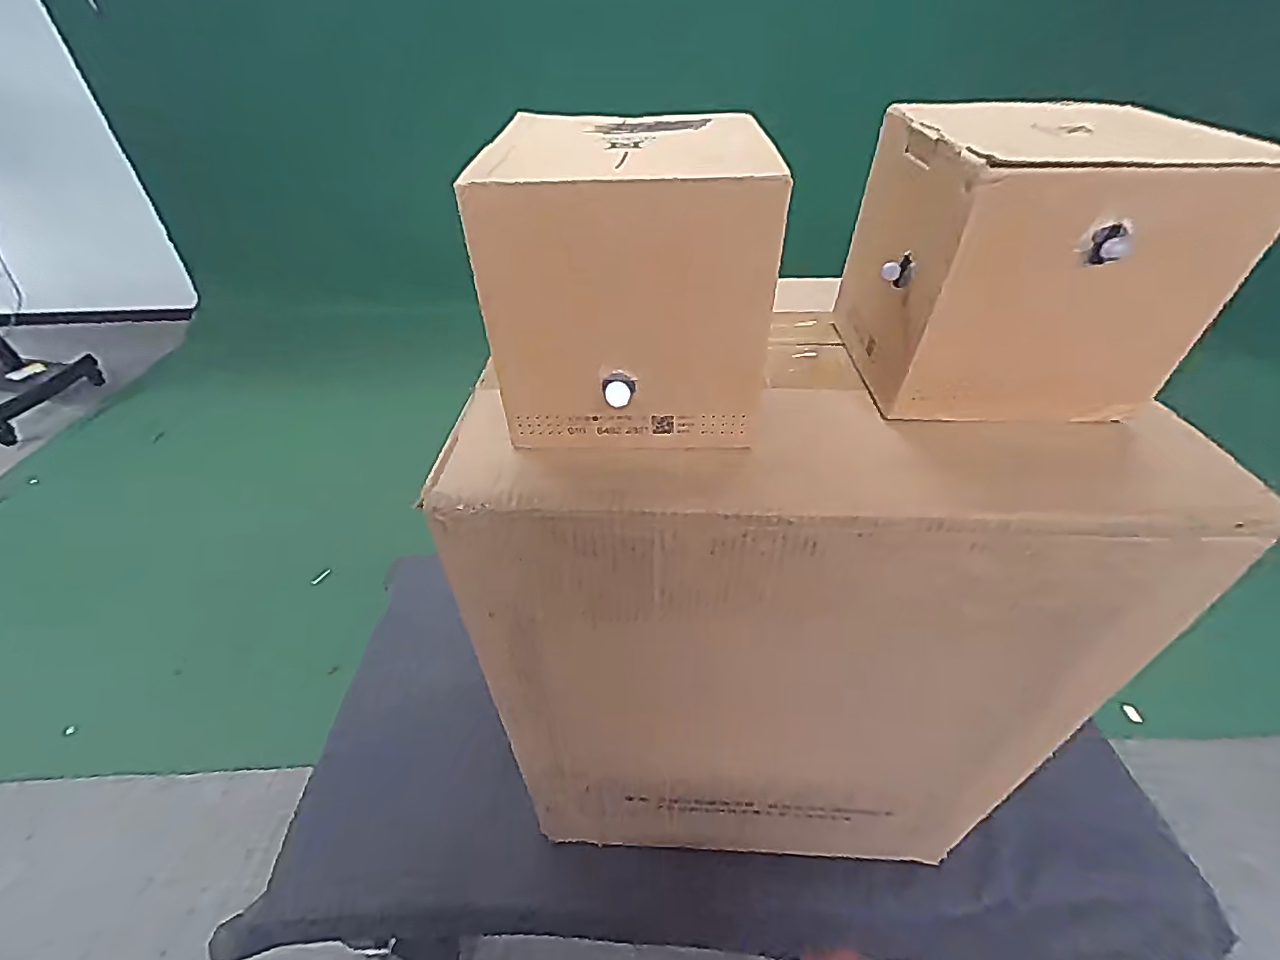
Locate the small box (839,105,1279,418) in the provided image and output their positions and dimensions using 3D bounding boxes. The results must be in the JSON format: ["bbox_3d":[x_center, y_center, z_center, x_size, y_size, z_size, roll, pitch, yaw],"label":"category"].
[{"bbox_3d":[0.260,-0.159,0.396,0.179,0.176,0.168,2,43,0],"label":"small box"}]

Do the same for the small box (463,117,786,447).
[{"bbox_3d":[-0.005,-0.143,0.382,0.168,0.176,0.179,0,43,2],"label":"small box"}]
